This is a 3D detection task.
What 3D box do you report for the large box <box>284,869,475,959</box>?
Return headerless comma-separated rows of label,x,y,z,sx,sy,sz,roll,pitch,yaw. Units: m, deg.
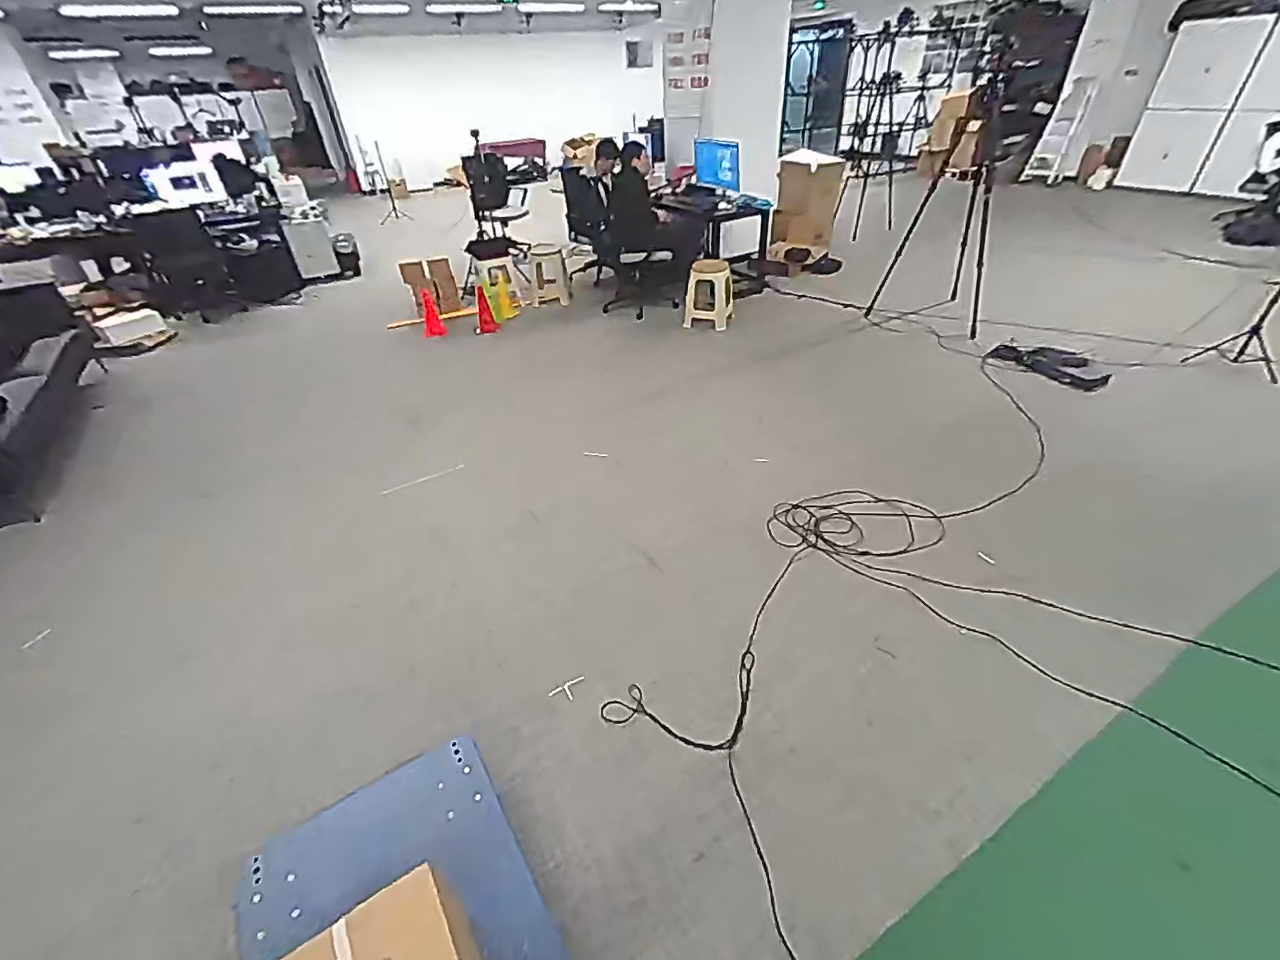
large box,-0.413,0.988,0.902,0.320,0.320,0.408,-23,44,-26
